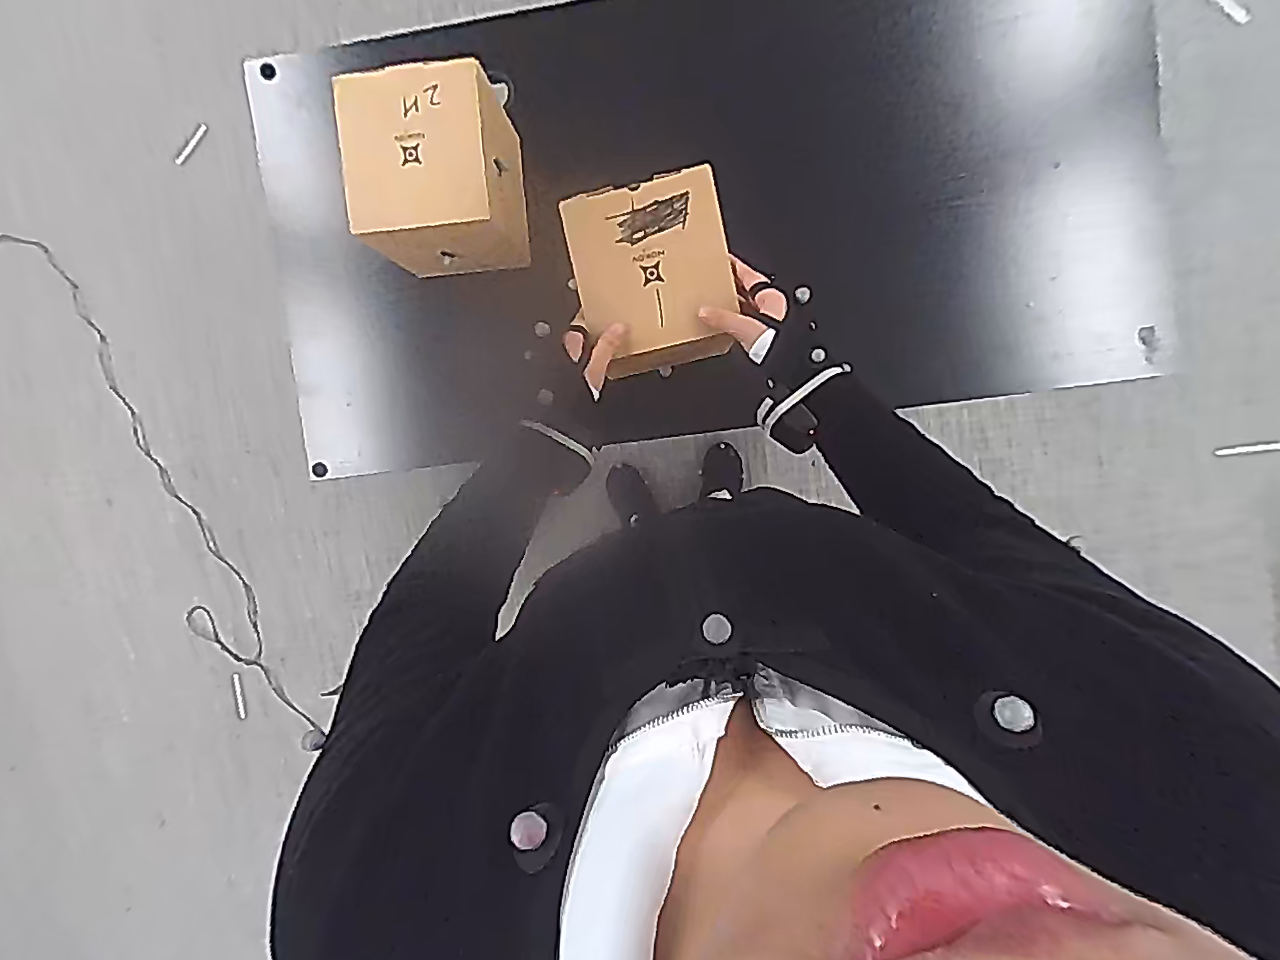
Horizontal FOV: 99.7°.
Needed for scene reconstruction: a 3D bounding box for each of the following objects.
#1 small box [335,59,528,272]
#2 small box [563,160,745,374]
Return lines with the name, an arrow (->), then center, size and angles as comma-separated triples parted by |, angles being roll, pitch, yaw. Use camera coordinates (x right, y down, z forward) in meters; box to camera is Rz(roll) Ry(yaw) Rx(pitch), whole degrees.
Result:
small box -> -0.248, -0.375, 0.683 | 0.168, 0.176, 0.179 | -4, 93, 4
small box -> 0.017, -0.236, 0.646 | 0.168, 0.176, 0.179 | -12, 94, 4
